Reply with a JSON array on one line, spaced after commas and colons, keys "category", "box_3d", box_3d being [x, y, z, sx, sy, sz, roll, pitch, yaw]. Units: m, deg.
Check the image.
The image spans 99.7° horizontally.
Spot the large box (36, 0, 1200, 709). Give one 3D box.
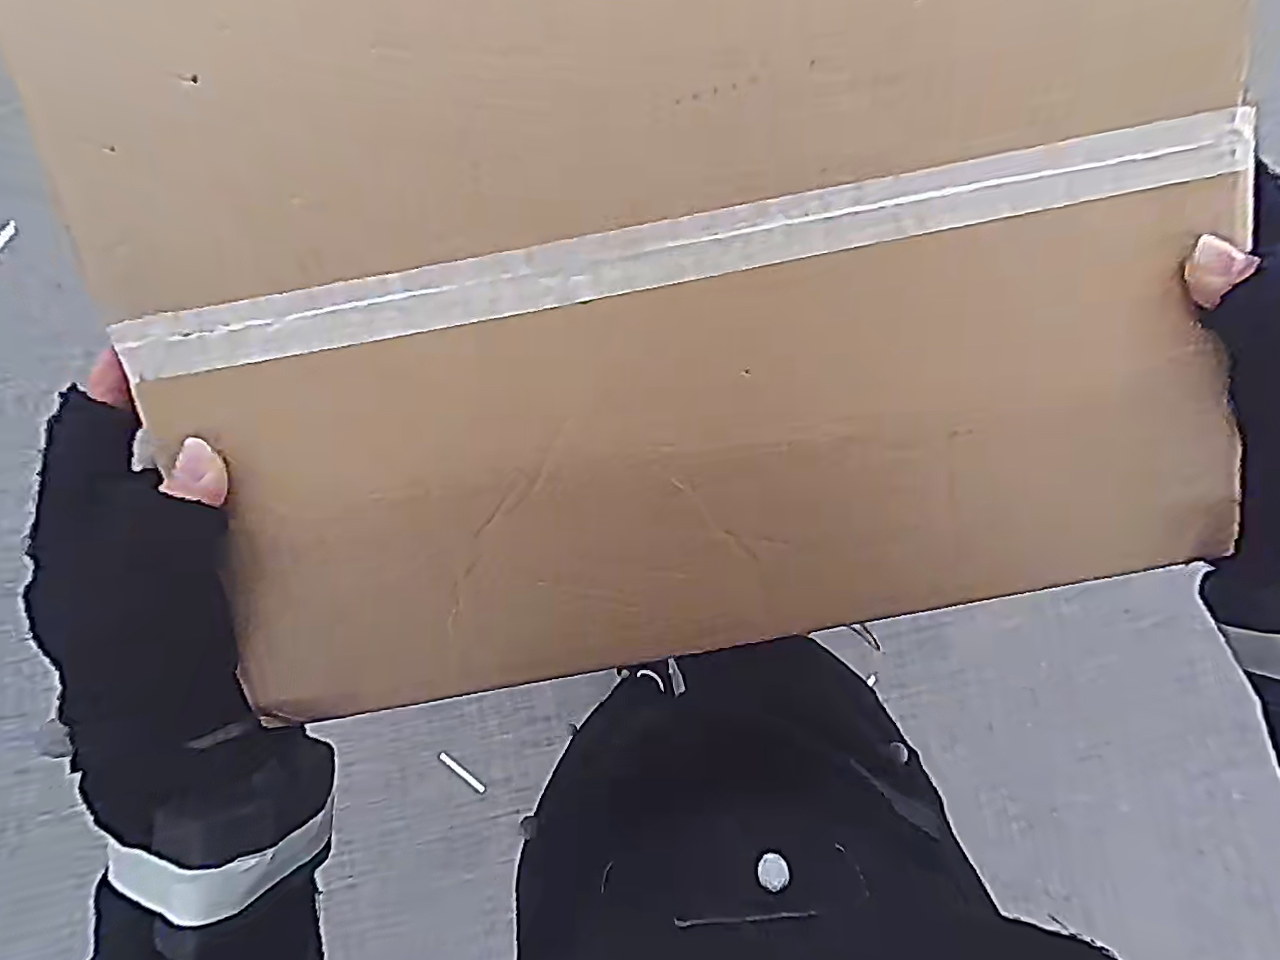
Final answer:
[{"category": "large box", "box_3d": [0.009, -0.112, 0.353, 0.408, 0.320, 0.320, -10, 101, 0]}]
